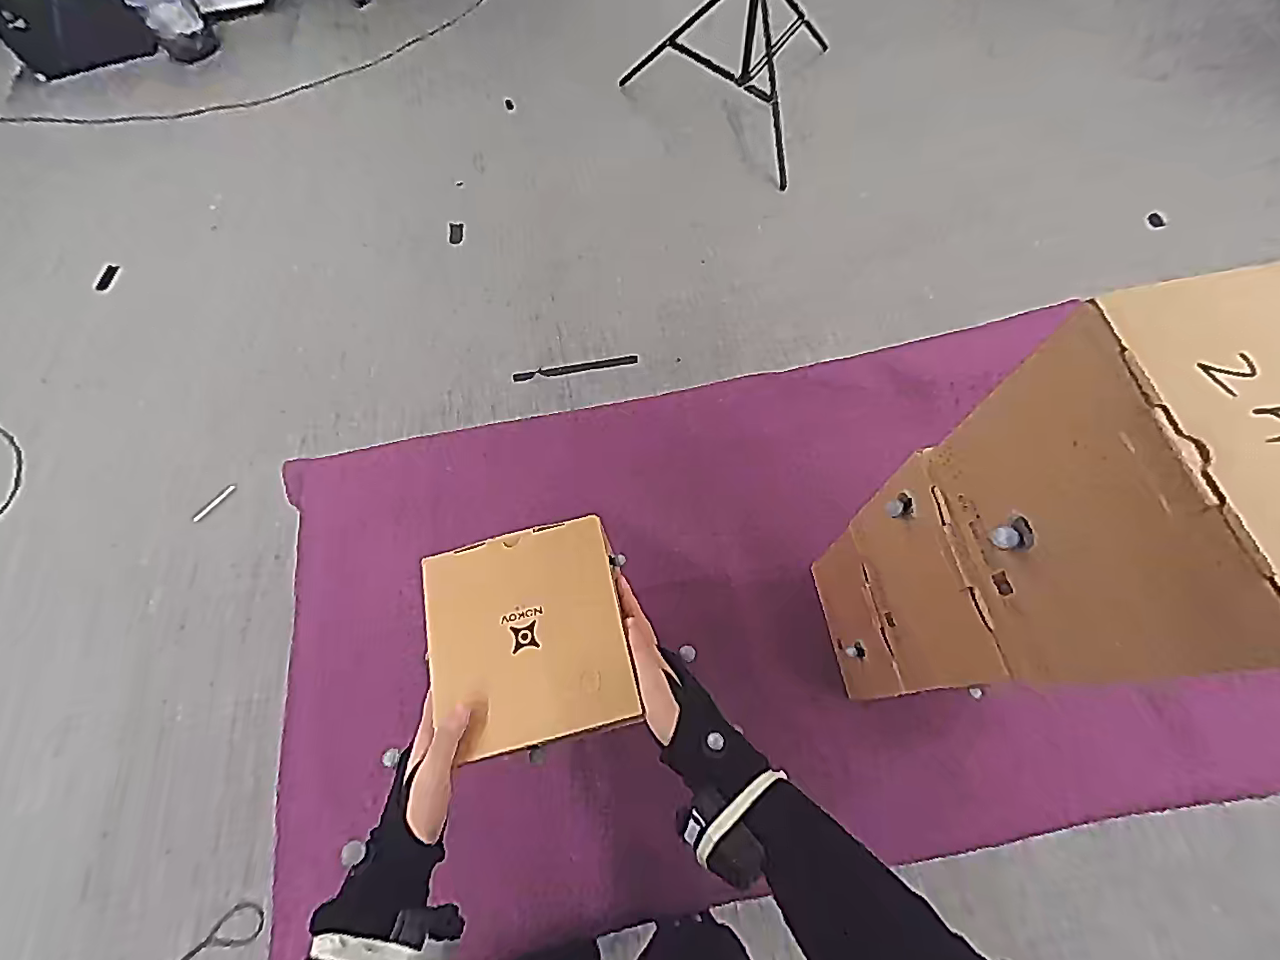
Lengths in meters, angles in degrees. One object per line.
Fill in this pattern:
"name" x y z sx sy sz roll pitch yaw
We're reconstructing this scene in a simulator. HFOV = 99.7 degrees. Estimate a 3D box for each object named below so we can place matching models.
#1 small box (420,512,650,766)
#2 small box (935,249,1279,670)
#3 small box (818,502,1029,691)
"small box" -0.091 0.156 0.522 0.168 0.176 0.179 -15 64 -2
"small box" 0.305 0.001 0.294 0.179 0.176 0.168 -10 66 -1
"small box" 0.312 0.132 0.596 0.179 0.176 0.168 -9 67 -2
